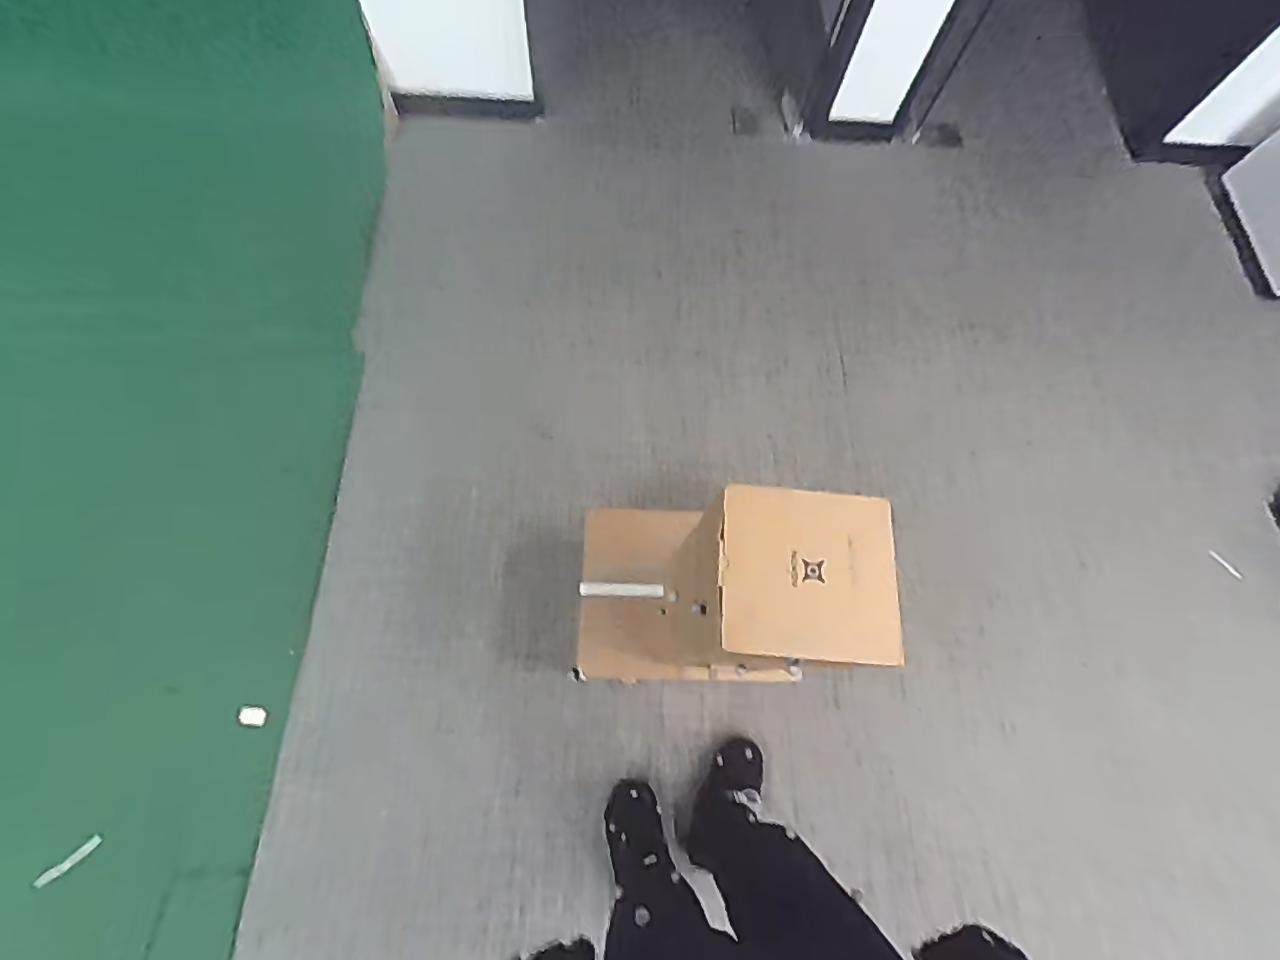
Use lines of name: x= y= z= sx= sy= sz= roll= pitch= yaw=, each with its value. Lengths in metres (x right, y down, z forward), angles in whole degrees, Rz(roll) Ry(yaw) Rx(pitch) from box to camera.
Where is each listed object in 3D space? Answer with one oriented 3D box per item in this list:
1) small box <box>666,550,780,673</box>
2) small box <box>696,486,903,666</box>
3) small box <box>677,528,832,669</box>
small box: x=0.135 y=0.226 z=0.908 sx=0.168 sy=0.176 sz=0.179 roll=4 pitch=70 yaw=-1
small box: x=0.159 y=0.115 z=0.602 sx=0.179 sy=0.176 sz=0.168 roll=4 pitch=71 yaw=-3
small box: x=0.150 y=0.172 z=0.753 sx=0.179 sy=0.176 sz=0.168 roll=4 pitch=69 yaw=-1
